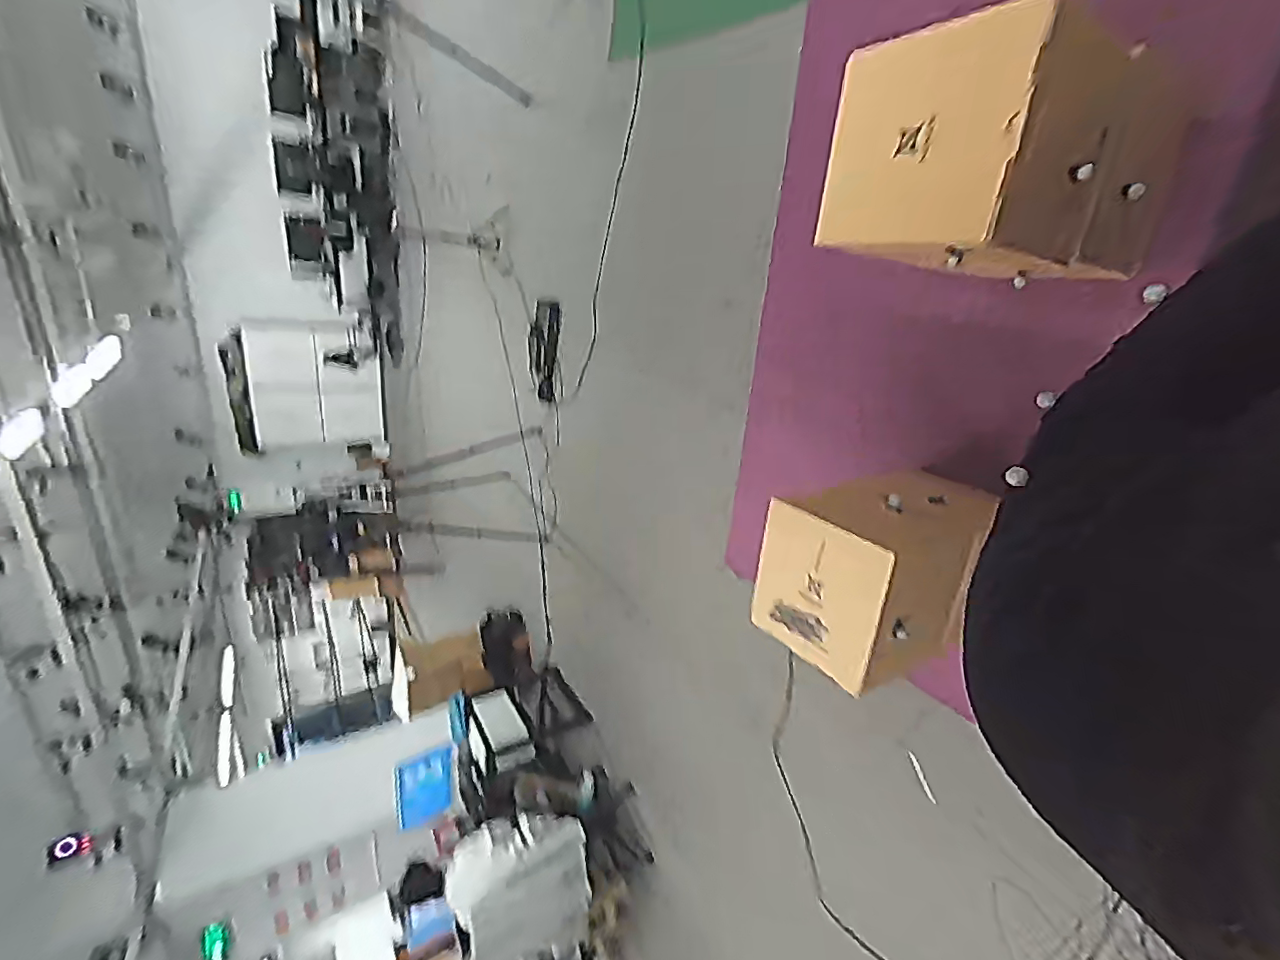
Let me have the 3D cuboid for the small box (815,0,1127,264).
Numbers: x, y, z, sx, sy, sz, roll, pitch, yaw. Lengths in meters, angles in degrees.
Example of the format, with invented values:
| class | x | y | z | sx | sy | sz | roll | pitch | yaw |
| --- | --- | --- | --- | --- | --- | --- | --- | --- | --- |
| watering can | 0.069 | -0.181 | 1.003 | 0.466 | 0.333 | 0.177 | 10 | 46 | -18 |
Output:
| class | x | y | z | sx | sy | sz | roll | pitch | yaw |
| --- | --- | --- | --- | --- | --- | --- | --- | --- | --- |
| small box | 0.305 | -0.304 | 0.517 | 0.179 | 0.176 | 0.168 | 30 | 121 | 50 |

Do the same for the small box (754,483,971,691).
| class | x | y | z | sx | sy | sz | roll | pitch | yaw |
| --- | --- | --- | --- | --- | --- | --- | --- | --- | --- |
| small box | 0.267 | 0.115 | 0.660 | 0.168 | 0.176 | 0.179 | 29 | 120 | 51 |

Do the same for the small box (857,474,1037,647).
| class | x | y | z | sx | sy | sz | roll | pitch | yaw |
| --- | --- | --- | --- | --- | --- | --- | --- | --- | --- |
| small box | 0.404 | 0.096 | 0.749 | 0.179 | 0.176 | 0.168 | 30 | 120 | 51 |

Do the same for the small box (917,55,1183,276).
| class | x | y | z | sx | sy | sz | roll | pitch | yaw |
| --- | --- | --- | --- | --- | --- | --- | --- | --- | --- |
| small box | 0.446 | -0.323 | 0.598 | 0.168 | 0.176 | 0.179 | 29 | 121 | 51 |
